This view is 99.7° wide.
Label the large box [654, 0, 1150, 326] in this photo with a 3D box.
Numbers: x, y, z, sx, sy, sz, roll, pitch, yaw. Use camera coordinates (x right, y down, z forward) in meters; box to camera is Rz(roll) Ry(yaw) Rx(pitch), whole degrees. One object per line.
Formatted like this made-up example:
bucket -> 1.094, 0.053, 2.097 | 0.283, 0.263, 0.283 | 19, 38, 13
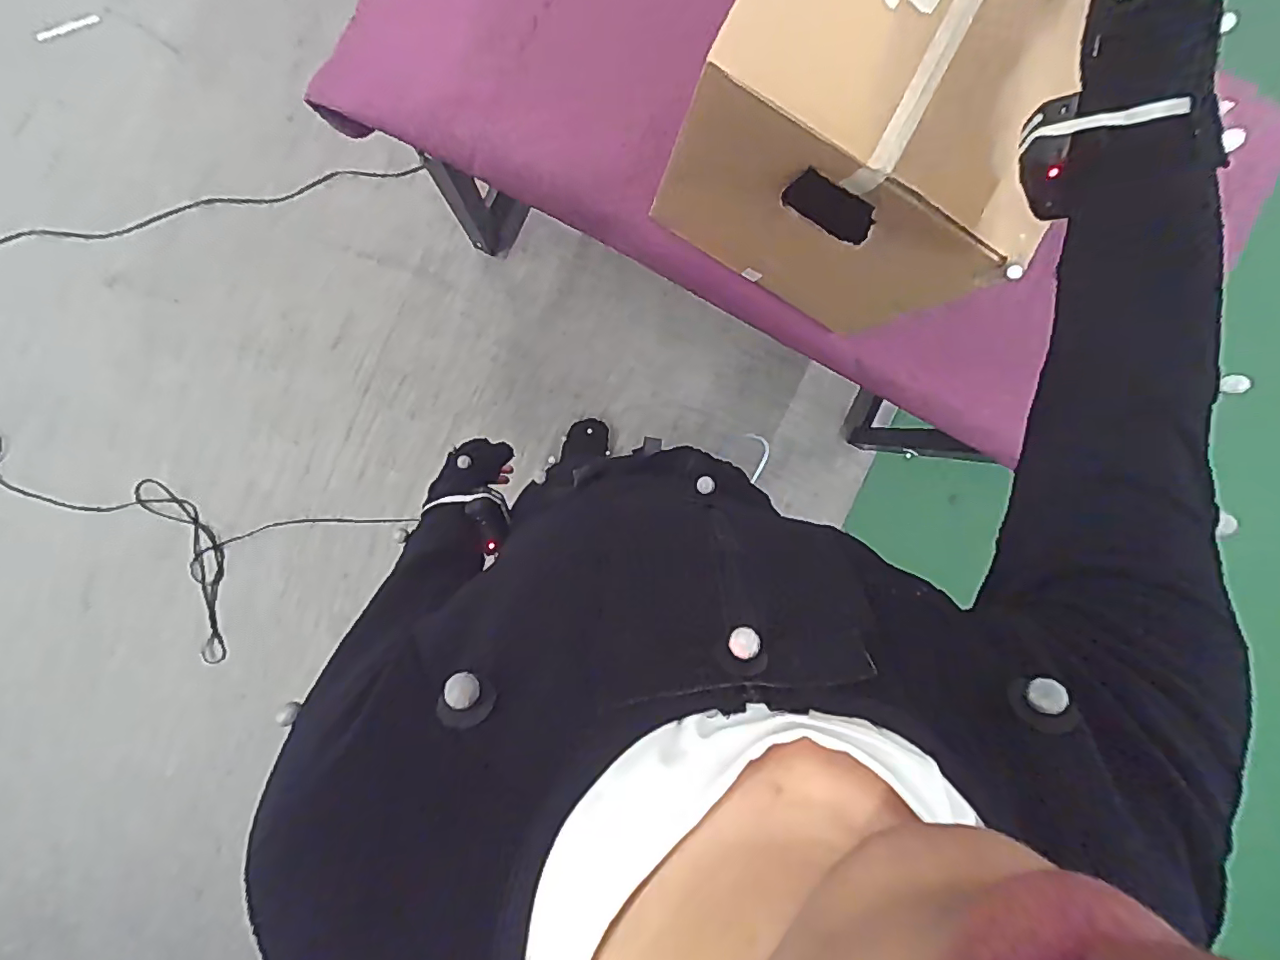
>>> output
large box -> 0.255, -0.440, 0.588 | 0.320, 0.320, 0.408 | 28, 93, -8
